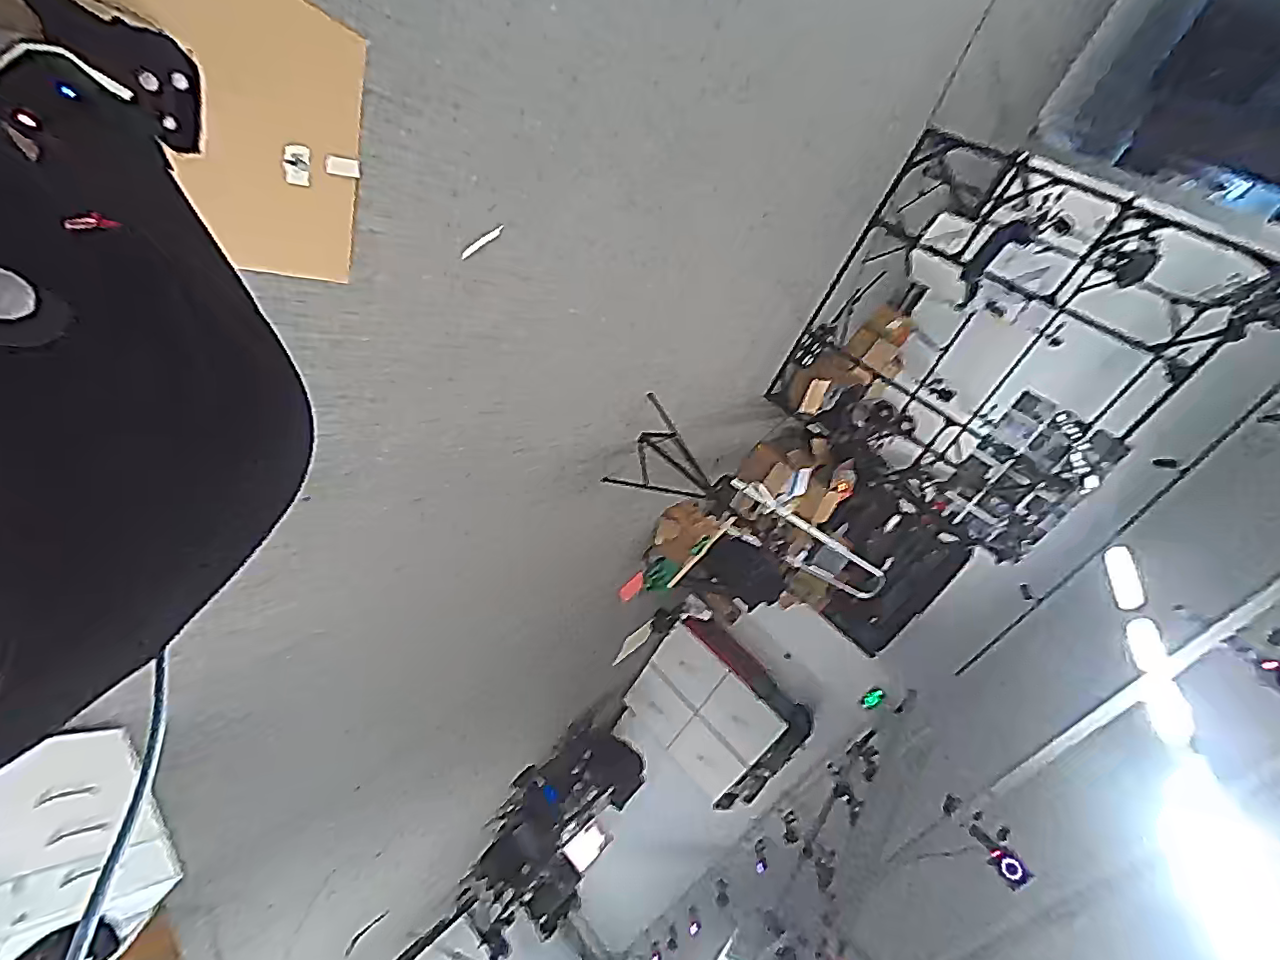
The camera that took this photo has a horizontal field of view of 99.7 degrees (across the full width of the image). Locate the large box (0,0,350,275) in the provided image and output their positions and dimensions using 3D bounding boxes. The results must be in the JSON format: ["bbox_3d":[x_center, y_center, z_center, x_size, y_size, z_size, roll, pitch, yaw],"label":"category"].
[{"bbox_3d":[-0.631,-0.461,0.663,0.320,0.408,0.320,-30,138,-65],"label":"large box"}]
